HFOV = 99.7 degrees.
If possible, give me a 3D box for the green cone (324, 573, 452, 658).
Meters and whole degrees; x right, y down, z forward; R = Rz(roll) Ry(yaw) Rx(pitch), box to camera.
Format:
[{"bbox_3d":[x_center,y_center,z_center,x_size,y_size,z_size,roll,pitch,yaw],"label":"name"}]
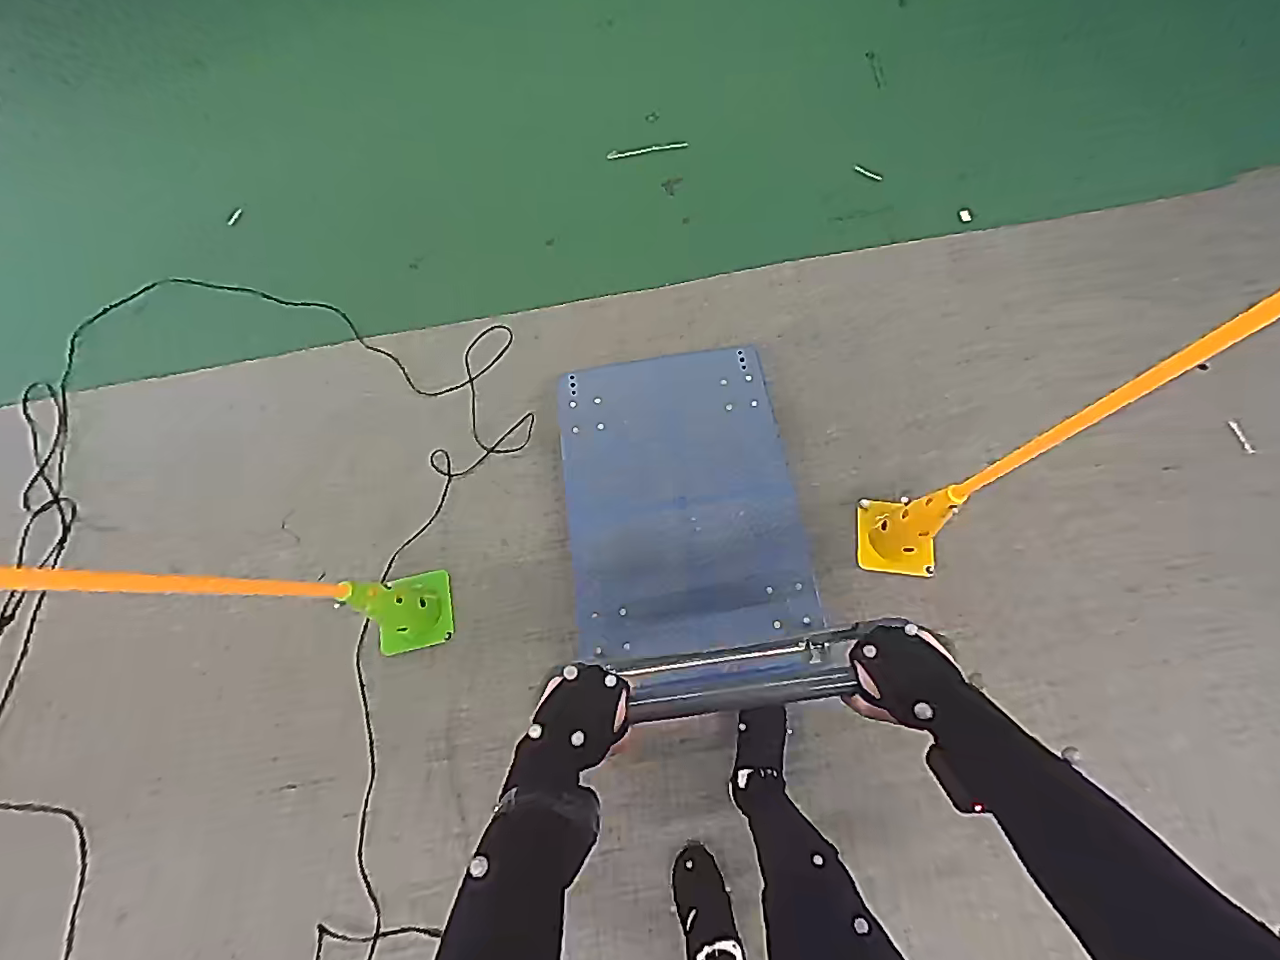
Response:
[{"bbox_3d":[-0.633,0.303,1.315,0.202,0.368,0.200,-14,68,0],"label":"green cone"}]
